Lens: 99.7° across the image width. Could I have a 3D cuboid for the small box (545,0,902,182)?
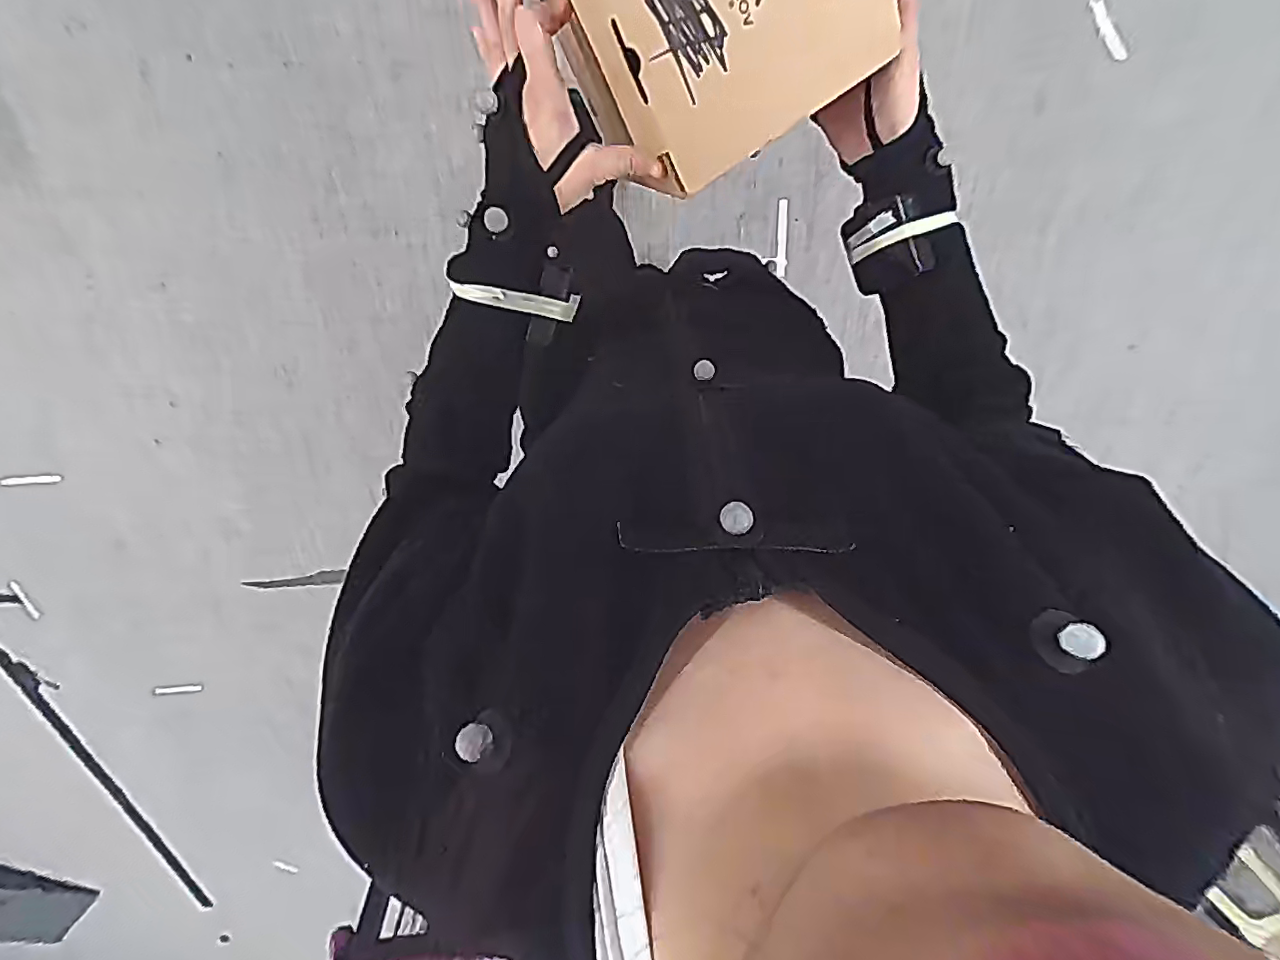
[{"bbox_3d":[0.041,-0.338,0.376,0.179,0.176,0.168,-33,127,3],"label":"small box"}]
